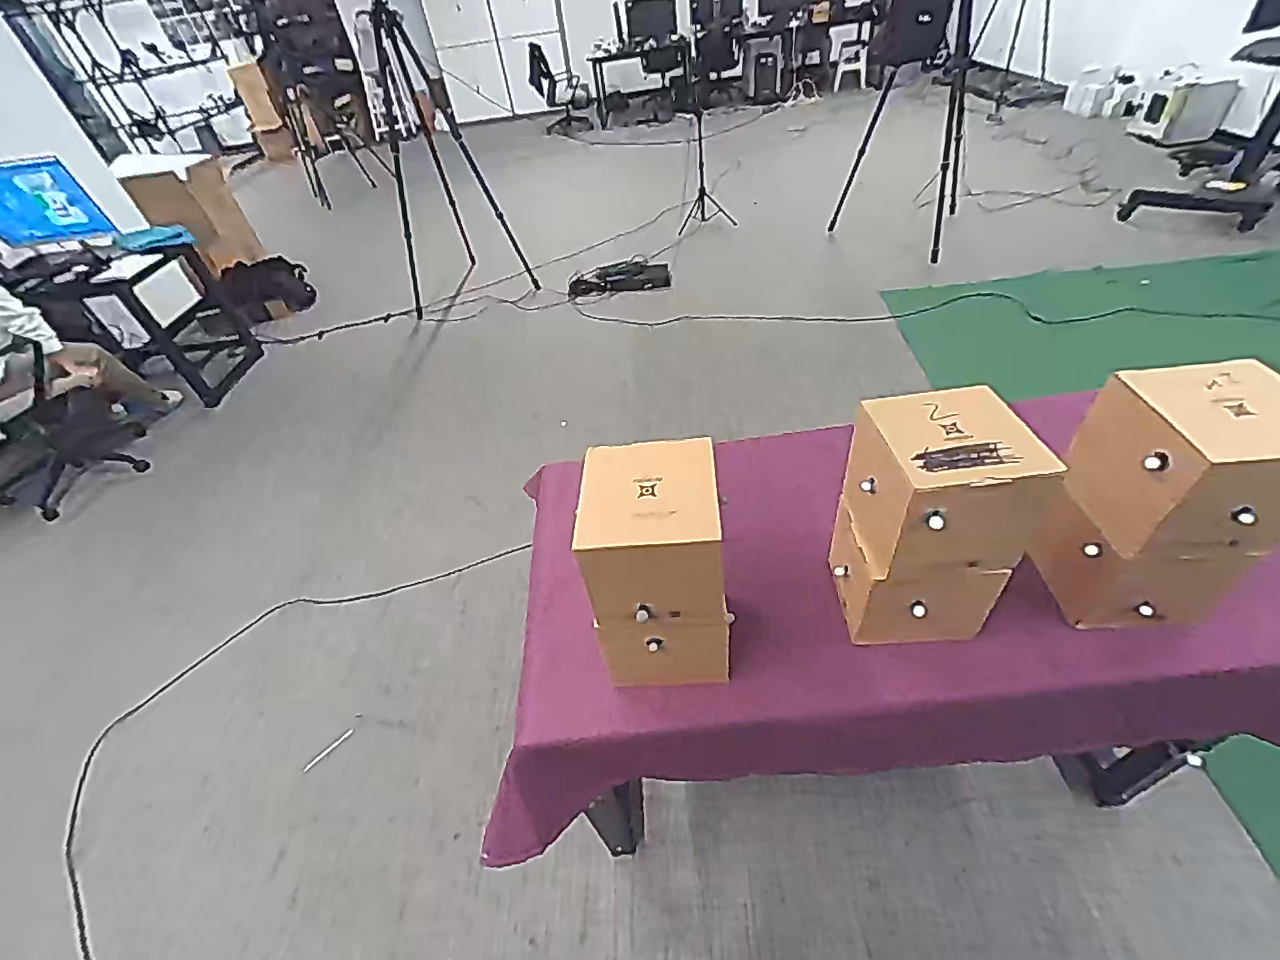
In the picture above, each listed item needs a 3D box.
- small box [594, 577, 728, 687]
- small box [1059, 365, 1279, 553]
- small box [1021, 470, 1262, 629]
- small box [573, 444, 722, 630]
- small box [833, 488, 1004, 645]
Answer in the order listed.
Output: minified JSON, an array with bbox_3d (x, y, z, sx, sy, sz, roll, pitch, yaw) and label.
[{"bbox_3d":[0.037,0.196,0.812,0.179,0.176,0.168,-4,43,5],"label":"small box"},{"bbox_3d":[0.687,-0.021,0.682,0.168,0.176,0.179,-4,43,5],"label":"small box"},{"bbox_3d":[0.706,0.098,0.794,0.168,0.176,0.179,-4,44,7],"label":"small box"},{"bbox_3d":[0.018,0.075,0.704,0.168,0.176,0.179,-4,43,7],"label":"small box"},{"bbox_3d":[0.397,0.133,0.813,0.179,0.176,0.168,-5,43,6],"label":"small box"}]
